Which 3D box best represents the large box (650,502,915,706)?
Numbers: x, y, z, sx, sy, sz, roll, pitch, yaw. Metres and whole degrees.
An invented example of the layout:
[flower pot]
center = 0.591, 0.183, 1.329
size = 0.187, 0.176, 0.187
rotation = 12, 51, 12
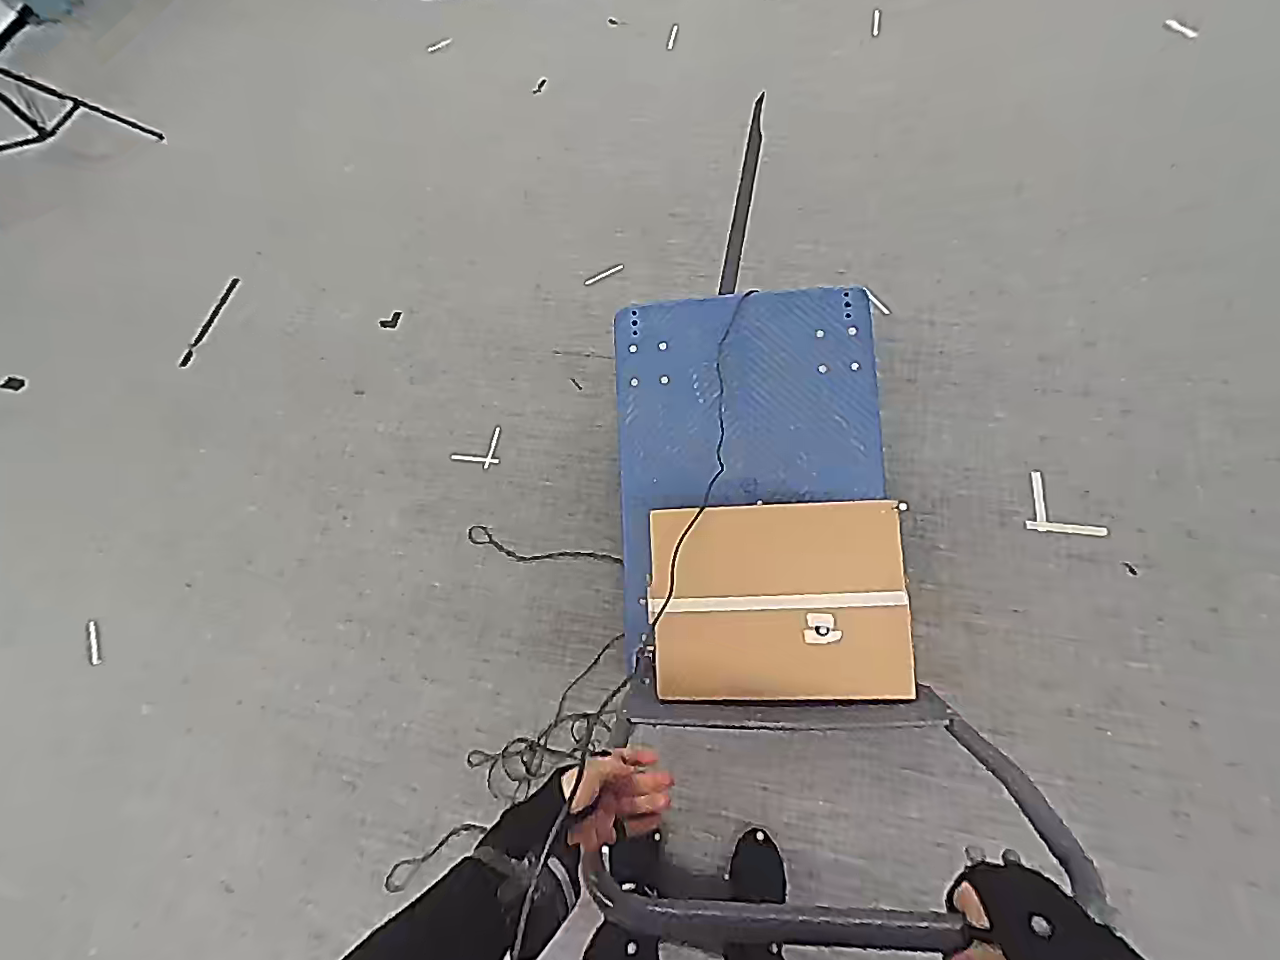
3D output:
[large box]
center = 0.237, 0.217, 1.020
size = 0.408, 0.320, 0.320
rotation = -3, 84, 6
